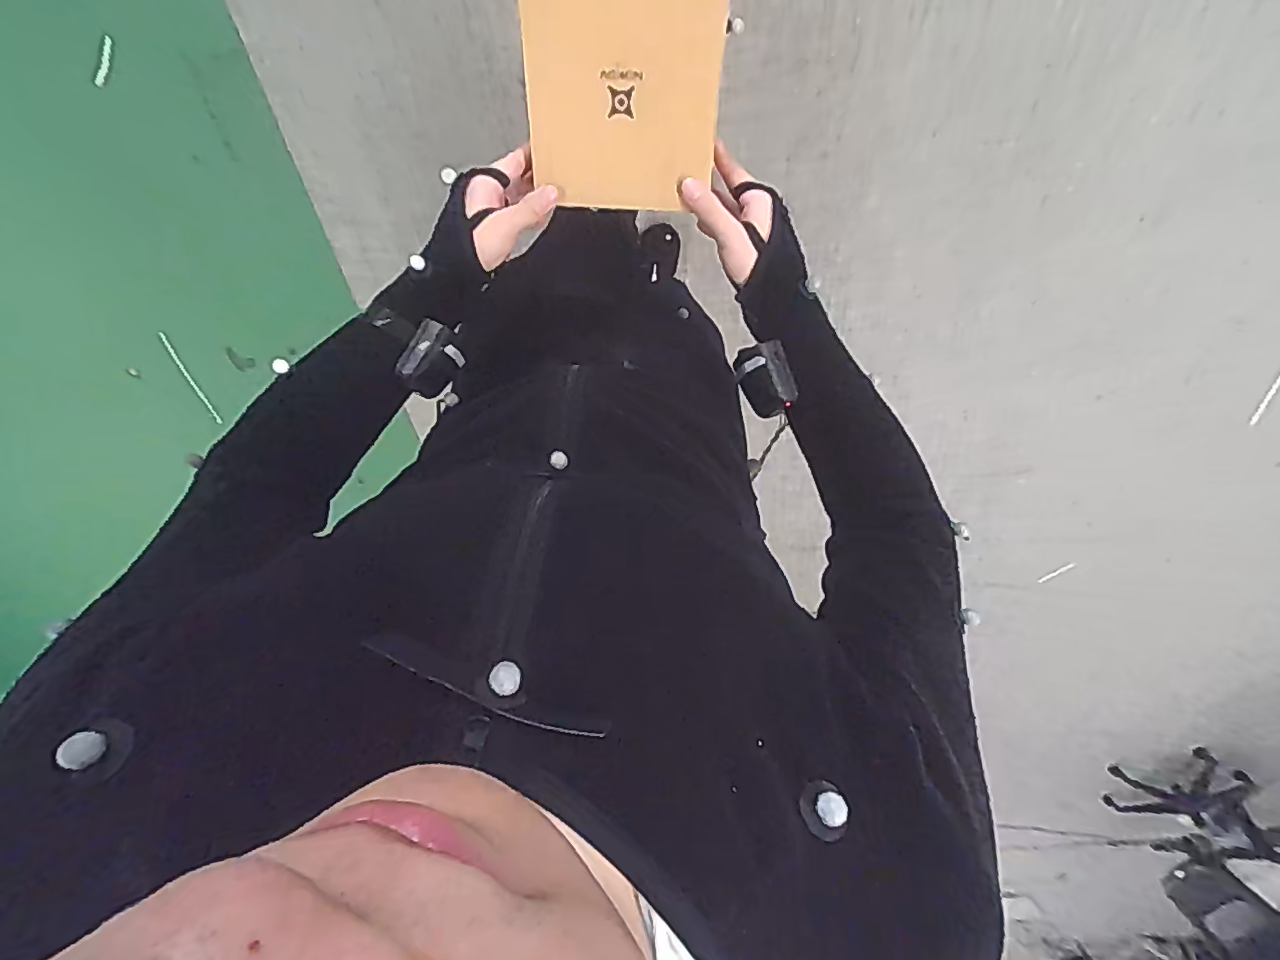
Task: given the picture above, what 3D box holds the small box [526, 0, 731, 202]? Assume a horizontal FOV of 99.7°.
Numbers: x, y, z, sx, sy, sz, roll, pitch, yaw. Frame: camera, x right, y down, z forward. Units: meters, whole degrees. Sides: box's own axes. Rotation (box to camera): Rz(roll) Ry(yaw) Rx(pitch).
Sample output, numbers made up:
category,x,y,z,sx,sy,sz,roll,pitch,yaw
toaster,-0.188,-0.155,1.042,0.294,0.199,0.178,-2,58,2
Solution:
category,x,y,z,sx,sy,sz,roll,pitch,yaw
small box,-0.003,-0.386,0.522,0.168,0.176,0.179,5,128,4
